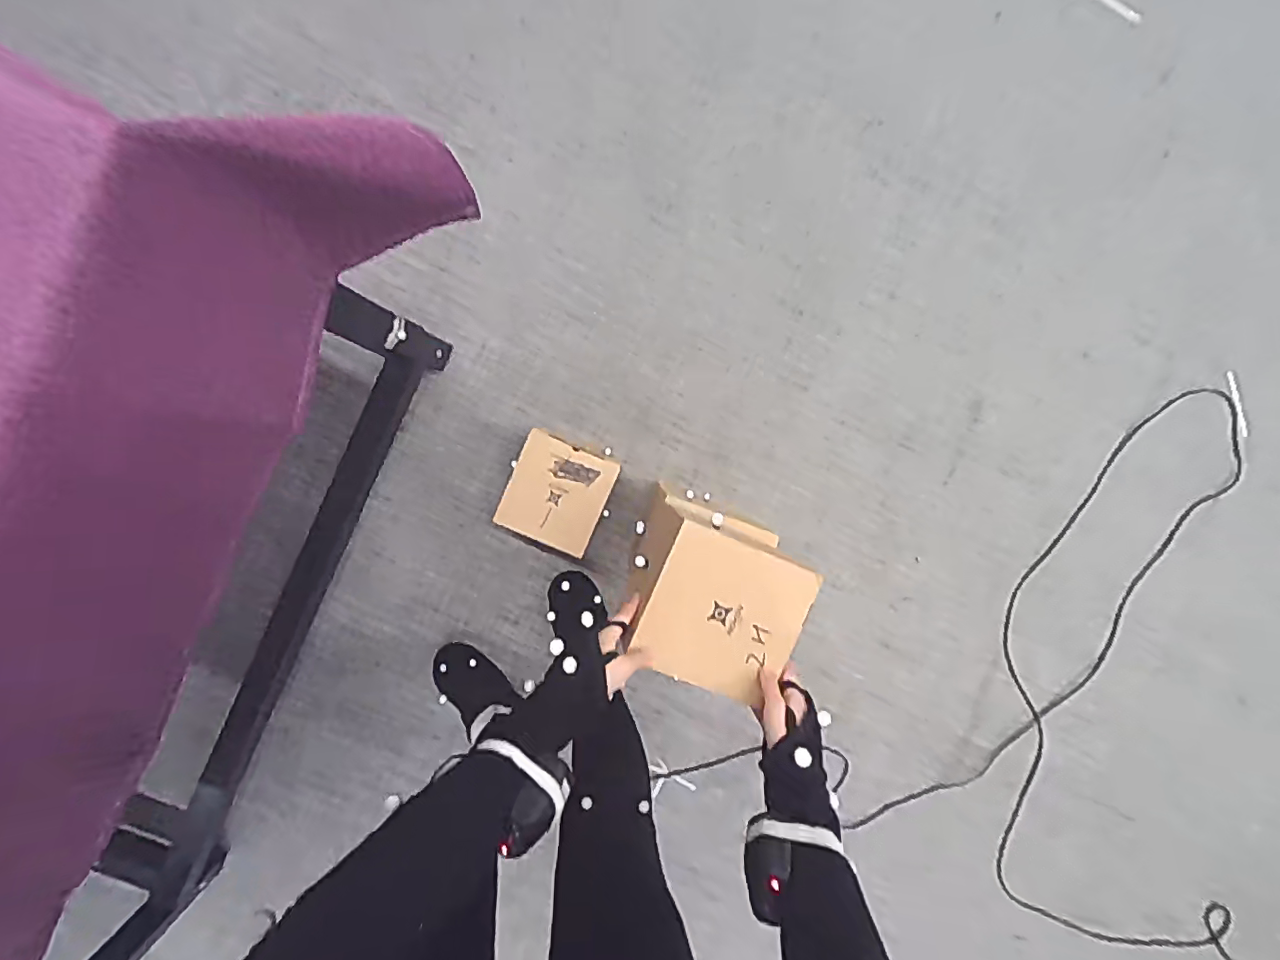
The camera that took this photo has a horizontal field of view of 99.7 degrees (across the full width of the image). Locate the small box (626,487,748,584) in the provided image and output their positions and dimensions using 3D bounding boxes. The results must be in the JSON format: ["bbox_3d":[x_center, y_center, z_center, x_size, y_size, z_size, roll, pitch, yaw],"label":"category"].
[{"bbox_3d":[0.081,0.125,1.013,0.168,0.176,0.179,21,93,-3],"label":"small box"}]

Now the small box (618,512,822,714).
[{"bbox_3d":[0.083,0.148,0.668,0.179,0.176,0.168,24,92,-8],"label":"small box"}]
